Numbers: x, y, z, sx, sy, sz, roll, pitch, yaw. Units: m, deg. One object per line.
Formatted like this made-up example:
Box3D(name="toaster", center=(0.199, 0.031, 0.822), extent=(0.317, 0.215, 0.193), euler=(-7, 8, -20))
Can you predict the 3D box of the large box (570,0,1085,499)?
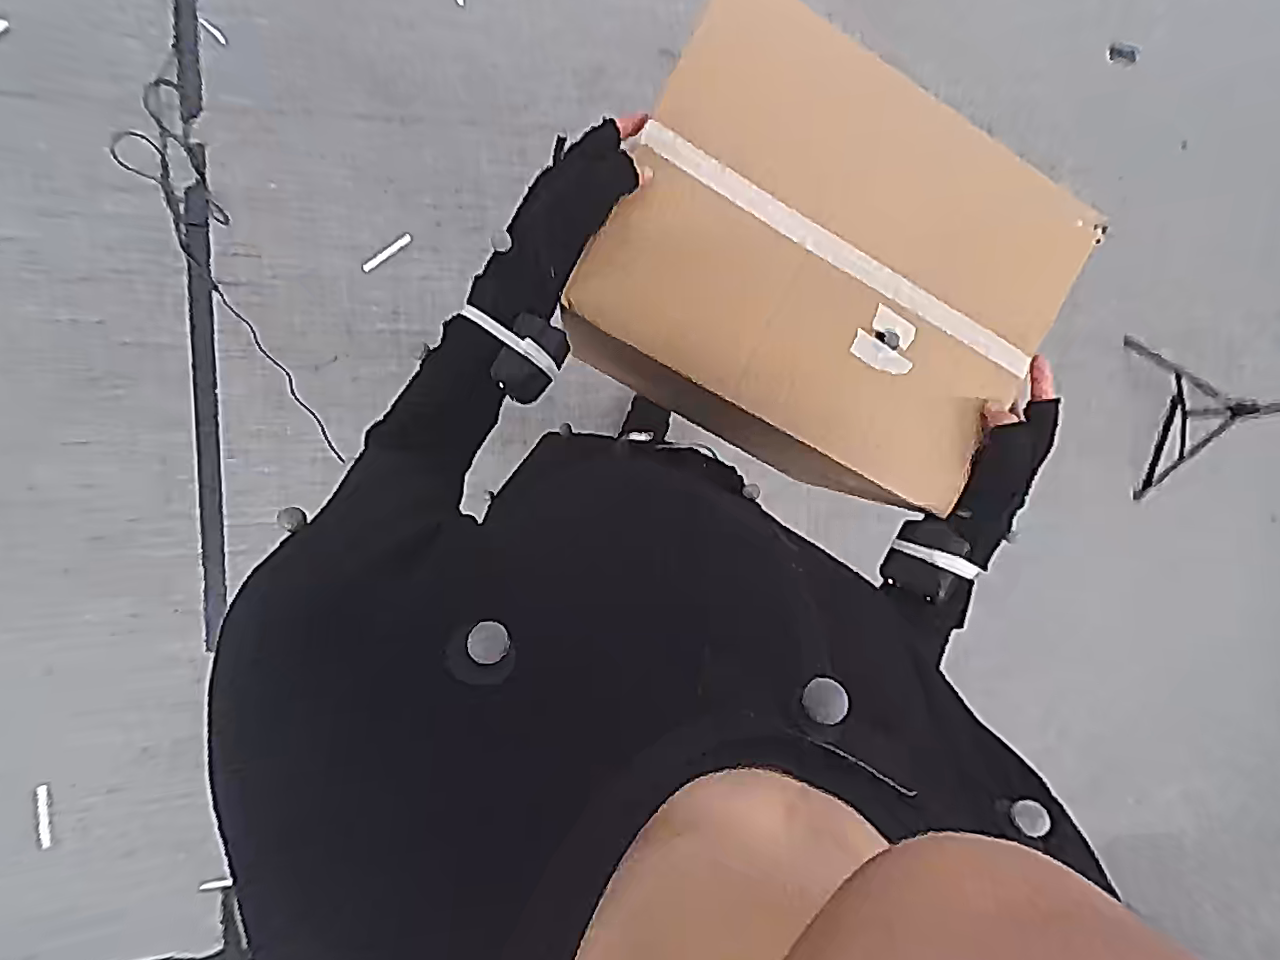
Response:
Box3D(name="large box", center=(0.161, -0.217, 0.632), extent=(0.408, 0.320, 0.320), euler=(28, 93, -10))
